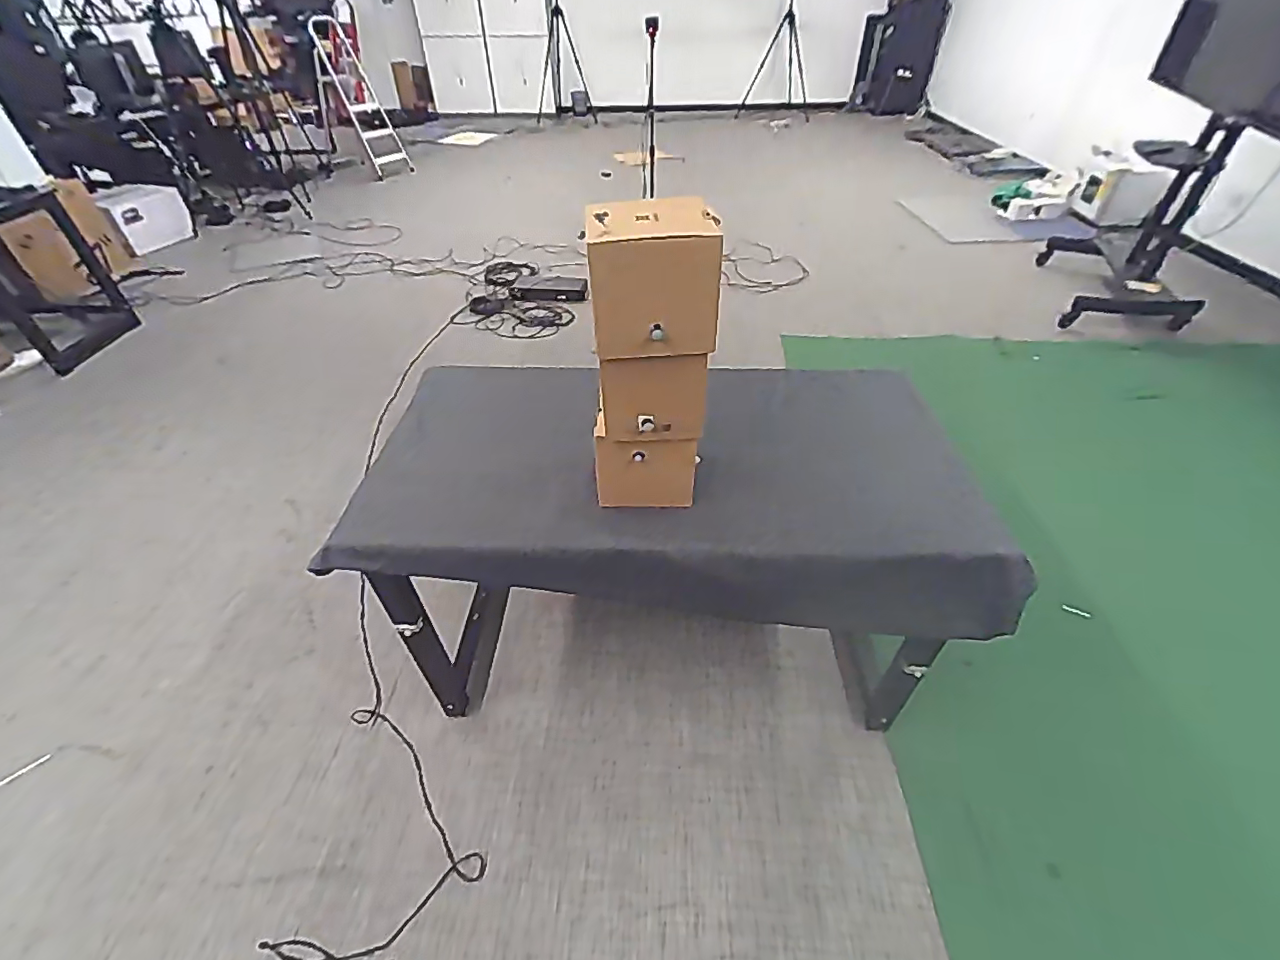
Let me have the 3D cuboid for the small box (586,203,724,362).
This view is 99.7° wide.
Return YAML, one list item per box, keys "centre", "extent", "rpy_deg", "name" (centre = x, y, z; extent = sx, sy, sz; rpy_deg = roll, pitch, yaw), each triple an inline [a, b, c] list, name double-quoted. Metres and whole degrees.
- centre: [0.017, -0.287, 0.787]
  extent: [0.179, 0.176, 0.168]
  rpy_deg: [-4, 42, -1]
  name: "small box"

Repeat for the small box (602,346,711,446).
- centre: [0.023, -0.177, 0.910]
  extent: [0.168, 0.176, 0.179]
  rpy_deg: [-4, 43, 0]
  name: "small box"

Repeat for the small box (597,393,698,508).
- centre: [0.017, -0.061, 1.023]
  extent: [0.179, 0.176, 0.168]
  rpy_deg: [1, 42, 2]
  name: "small box"
